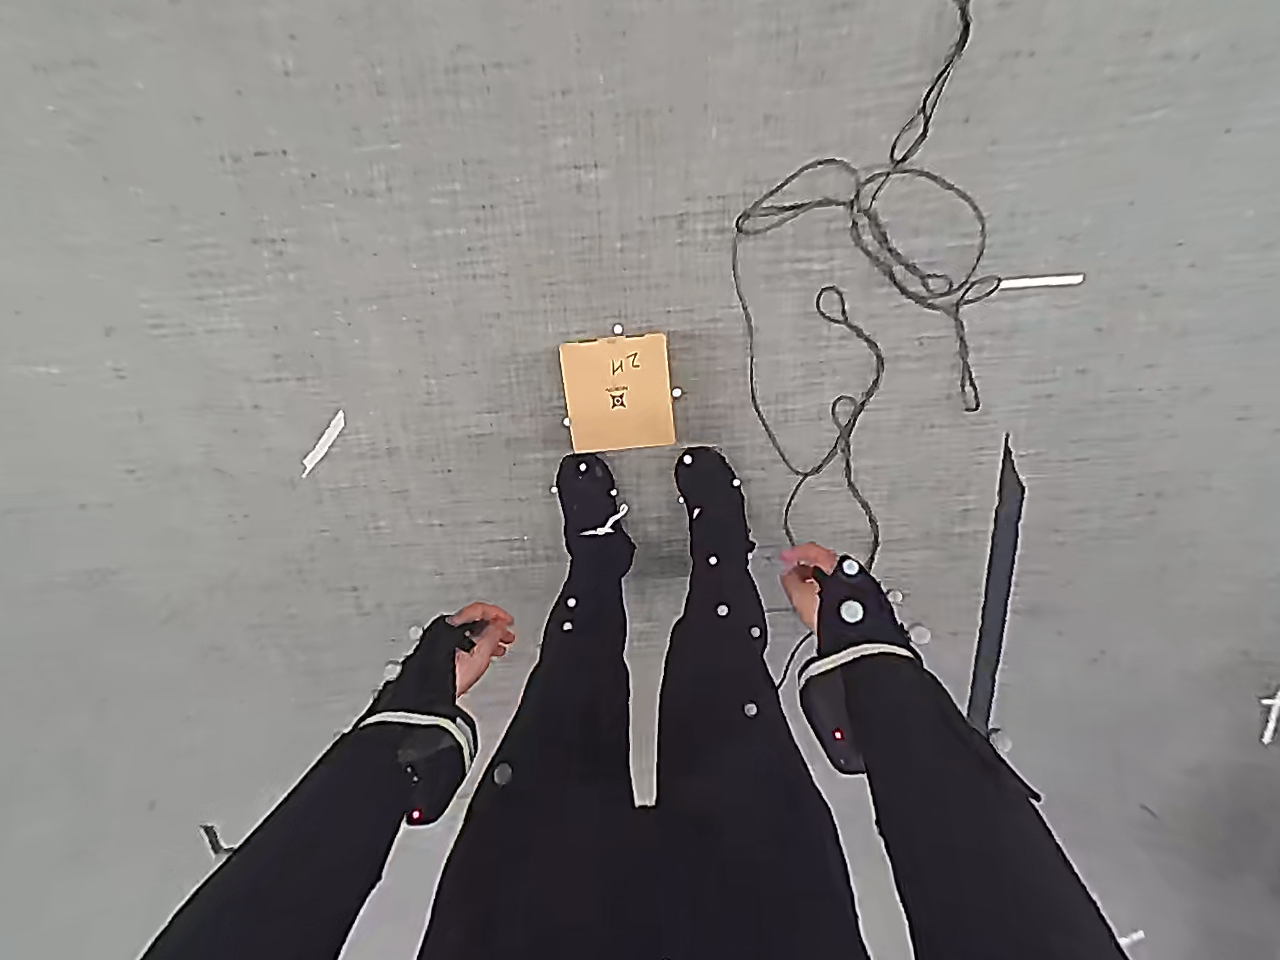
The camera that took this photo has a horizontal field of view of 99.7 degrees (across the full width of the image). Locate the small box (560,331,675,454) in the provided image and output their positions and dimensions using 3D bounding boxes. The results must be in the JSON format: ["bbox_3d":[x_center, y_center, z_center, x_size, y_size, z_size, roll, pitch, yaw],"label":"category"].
[{"bbox_3d":[-0.028,-0.153,0.916,0.168,0.176,0.179,-5,107,4],"label":"small box"}]
